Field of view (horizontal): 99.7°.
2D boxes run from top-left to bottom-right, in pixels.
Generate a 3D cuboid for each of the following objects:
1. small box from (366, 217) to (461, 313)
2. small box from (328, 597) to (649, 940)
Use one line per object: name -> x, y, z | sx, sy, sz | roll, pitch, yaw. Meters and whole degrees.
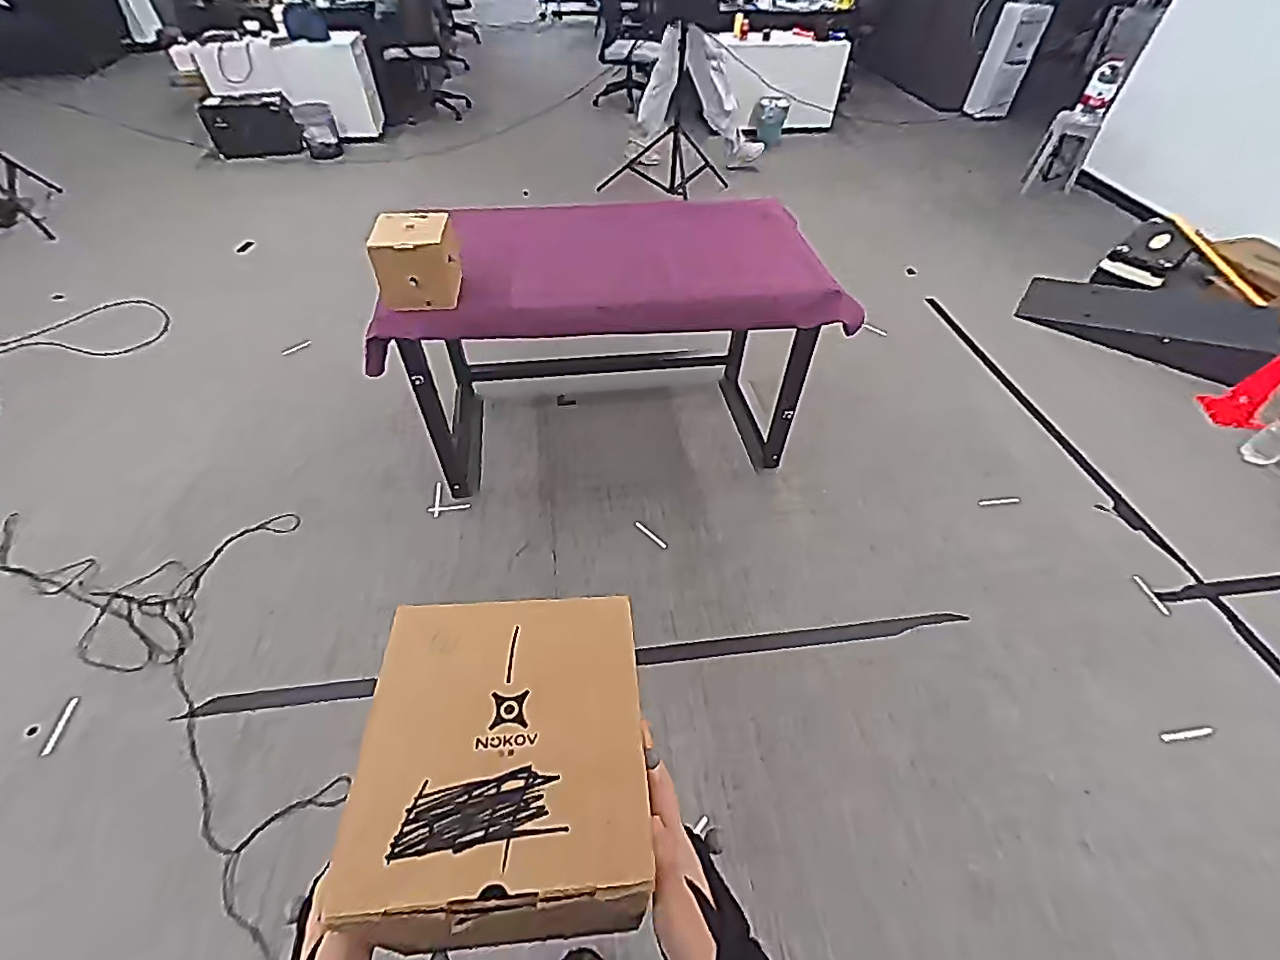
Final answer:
small box -> -0.552, -0.530, 1.344 | 0.168, 0.176, 0.179 | -4, 49, -6
small box -> -0.085, 0.206, 0.387 | 0.168, 0.176, 0.179 | -1, 44, -6
